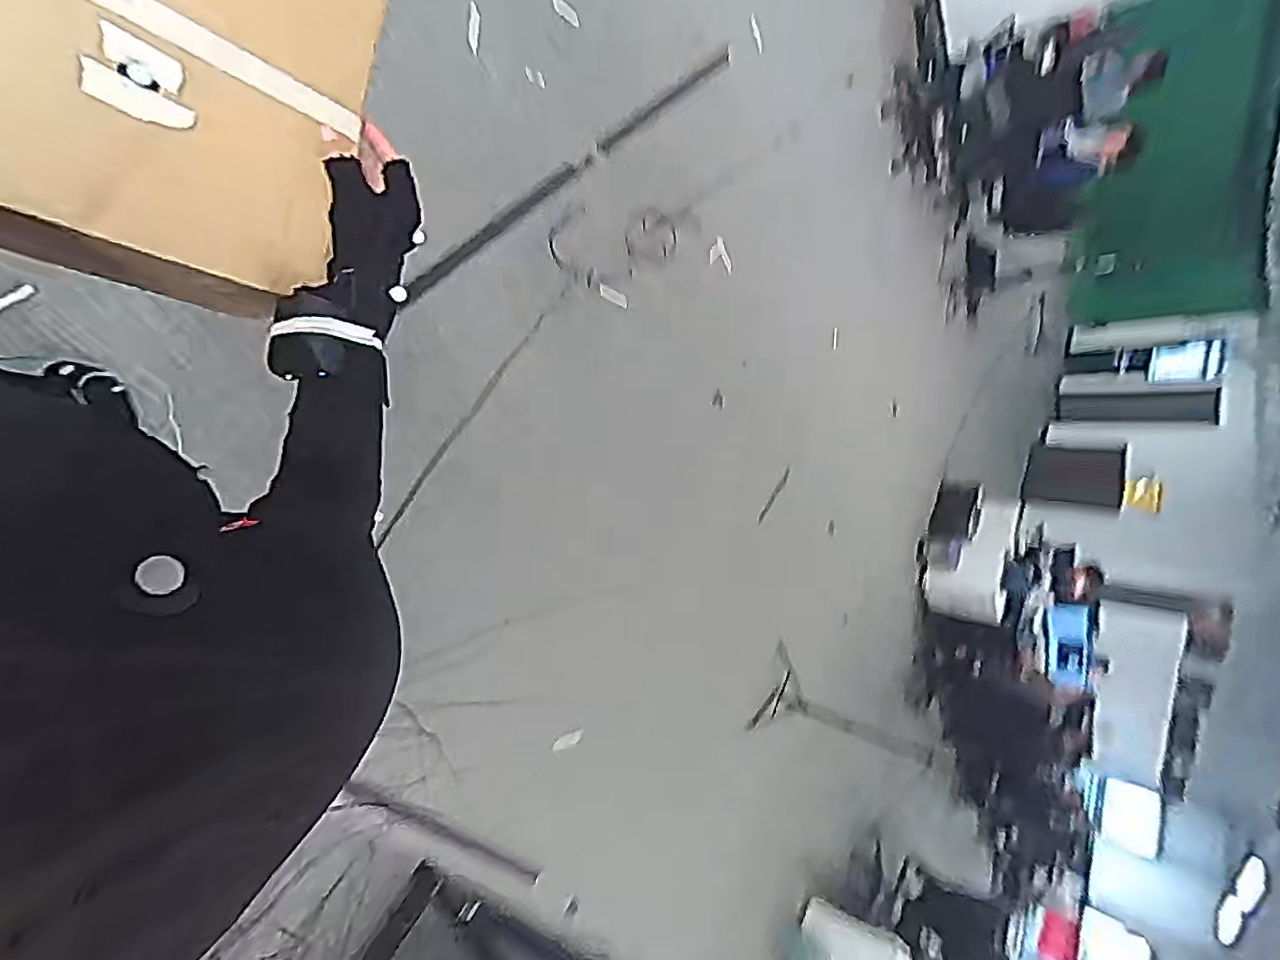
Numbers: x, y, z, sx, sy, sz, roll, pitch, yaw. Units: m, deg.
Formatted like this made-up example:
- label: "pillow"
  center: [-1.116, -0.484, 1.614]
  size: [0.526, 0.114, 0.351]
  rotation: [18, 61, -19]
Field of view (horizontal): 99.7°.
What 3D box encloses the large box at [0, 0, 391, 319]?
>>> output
- label: "large box"
  center: [-0.494, -0.353, 0.446]
  size: [0.408, 0.320, 0.320]
  rotation: [13, 92, -46]
